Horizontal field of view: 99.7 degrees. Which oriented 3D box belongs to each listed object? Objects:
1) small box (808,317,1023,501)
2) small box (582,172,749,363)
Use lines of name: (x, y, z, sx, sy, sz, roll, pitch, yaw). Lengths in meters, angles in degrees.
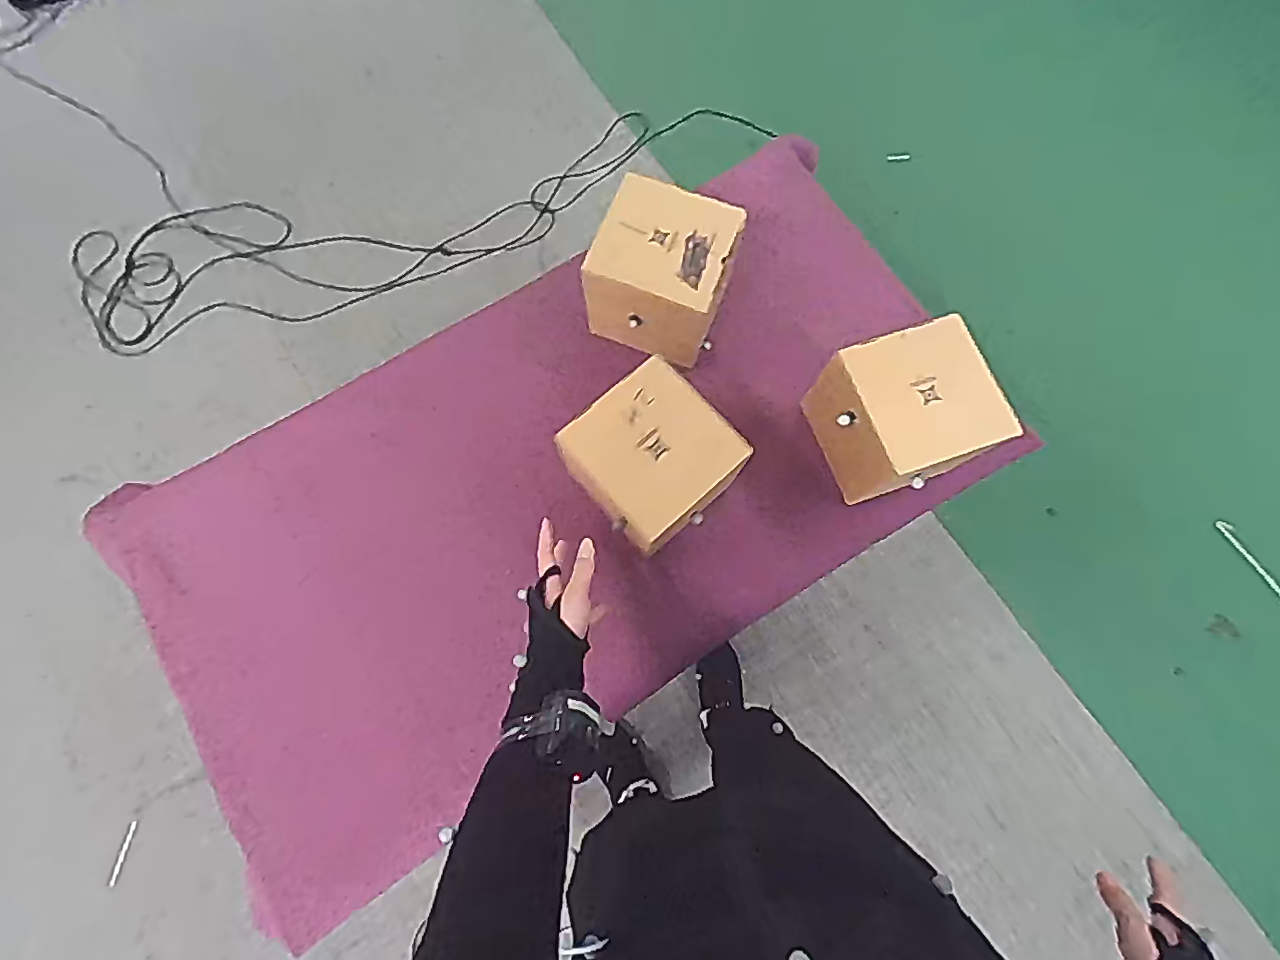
small box: (0.350, -0.082, 0.727, 0.168, 0.176, 0.179, -18, 74, -4)
small box: (0.035, -0.292, 0.779, 0.179, 0.176, 0.168, 22, 77, 5)
